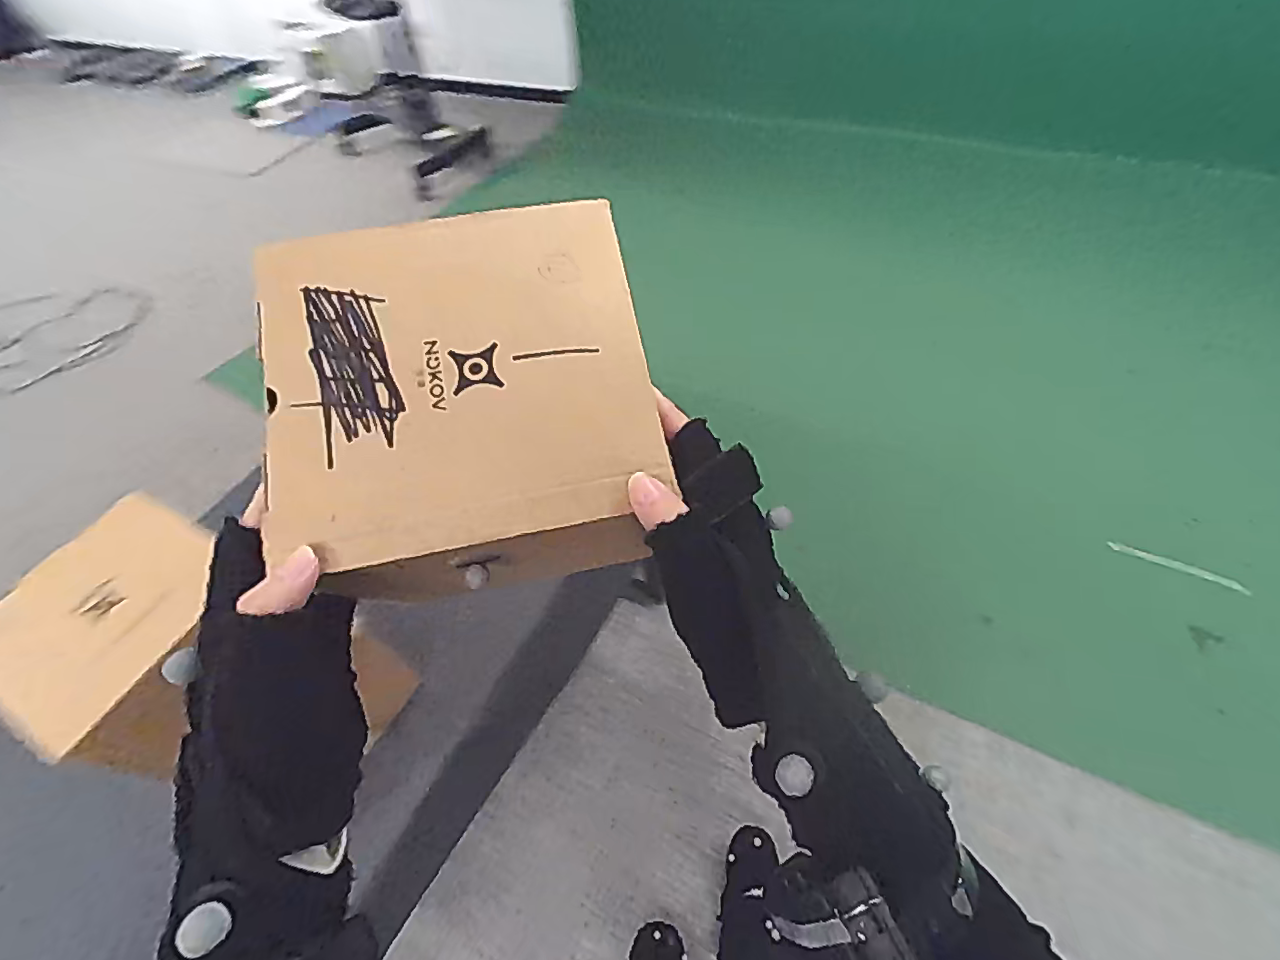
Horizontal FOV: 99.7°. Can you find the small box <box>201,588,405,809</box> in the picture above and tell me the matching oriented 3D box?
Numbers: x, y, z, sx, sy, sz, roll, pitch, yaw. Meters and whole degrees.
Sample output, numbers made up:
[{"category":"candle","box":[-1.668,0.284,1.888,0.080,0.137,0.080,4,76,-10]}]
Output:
[{"category":"small box","box":[-0.402,0.242,0.623,0.168,0.176,0.179,21,57,20]}]

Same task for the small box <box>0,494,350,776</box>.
[{"category":"small box","box":[-0.418,0.145,0.493,0.179,0.176,0.168,19,59,18]}]
